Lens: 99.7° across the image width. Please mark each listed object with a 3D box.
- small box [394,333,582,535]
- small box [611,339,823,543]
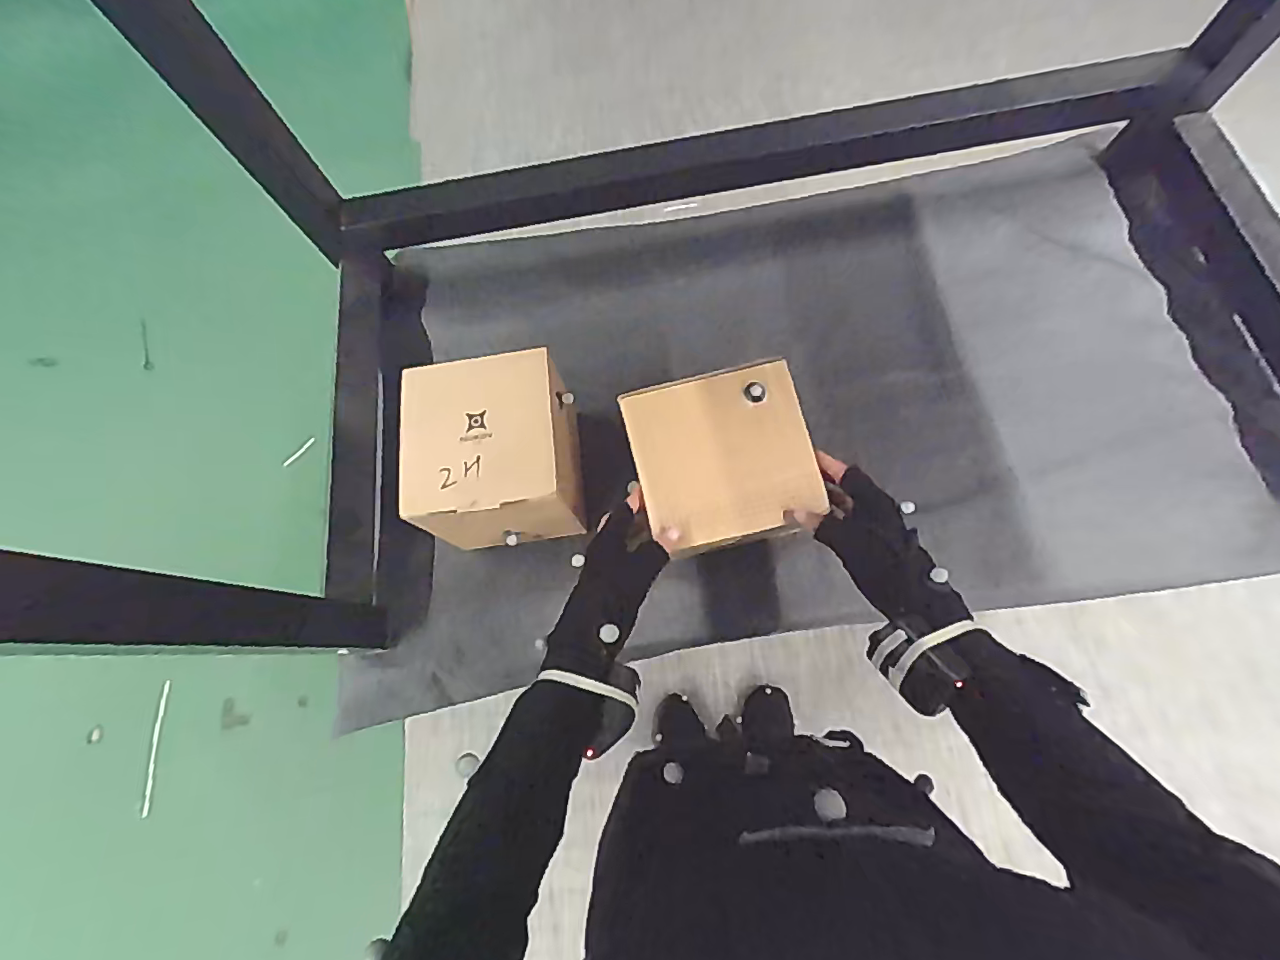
[{"bbox_3d":[-0.169,-0.045,0.645,0.168,0.176,0.179,-8,72,4],"label":"small box"},{"bbox_3d":[0.079,-0.027,0.603,0.179,0.168,0.176,-14,79,1],"label":"small box"}]
